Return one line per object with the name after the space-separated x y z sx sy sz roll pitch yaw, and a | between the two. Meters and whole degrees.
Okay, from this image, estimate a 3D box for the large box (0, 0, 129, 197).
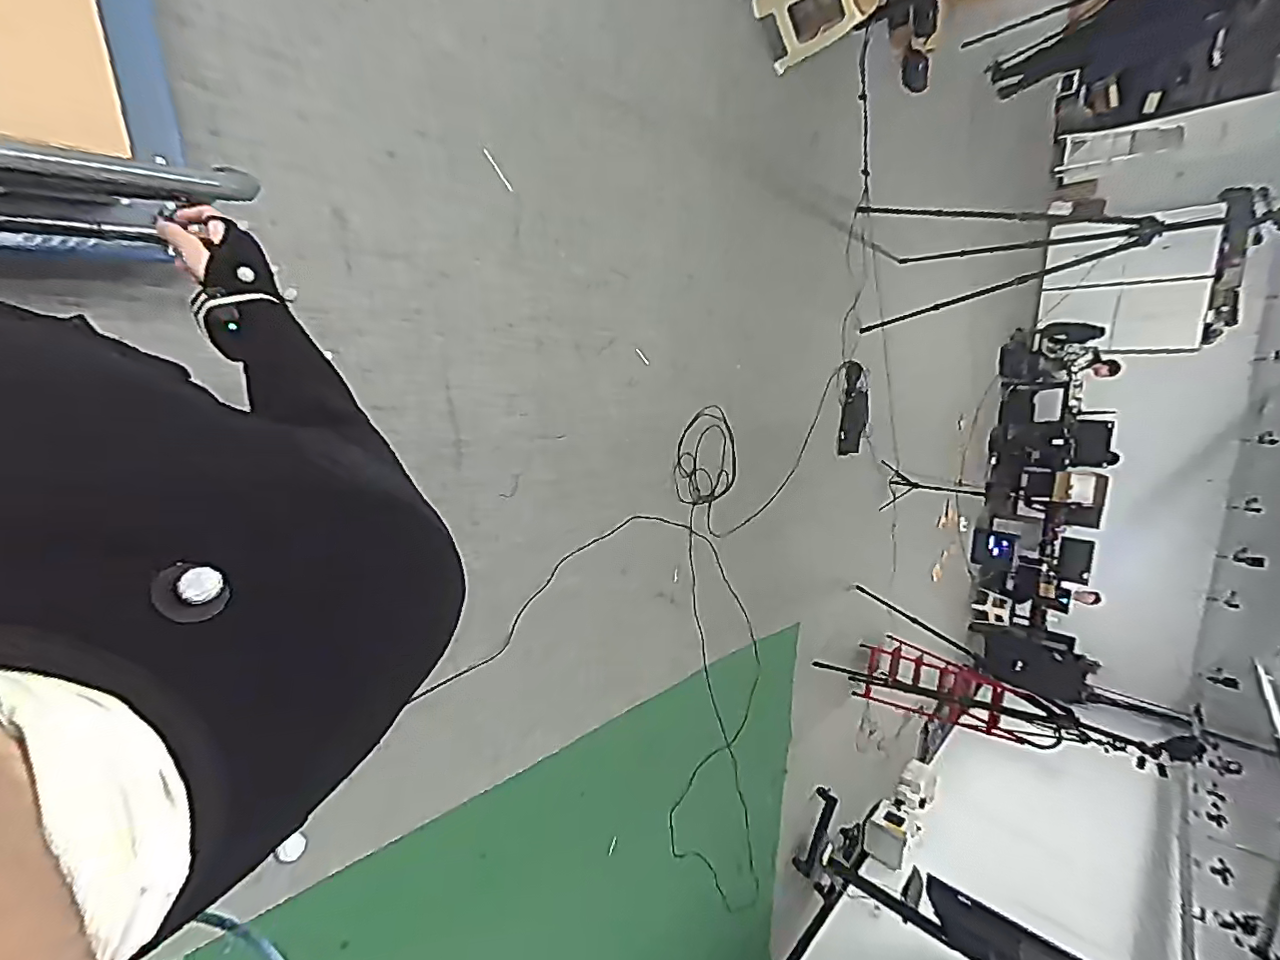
-1.012 -0.678 0.786 0.320 0.320 0.408 -17 109 -43 | large box
